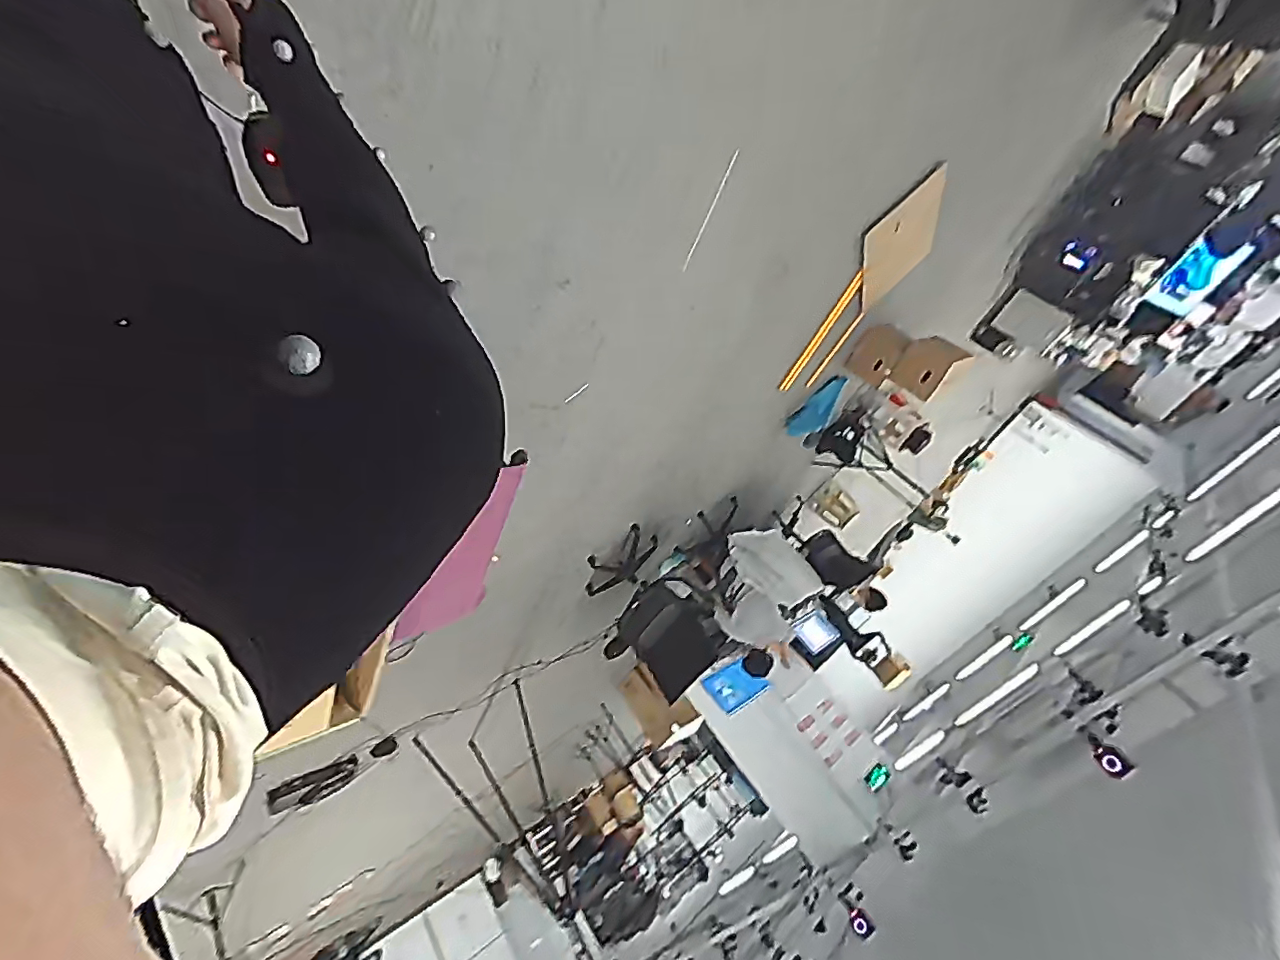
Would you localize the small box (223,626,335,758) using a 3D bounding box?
[{"bbox_3d":[-0.775,0.445,1.157,0.168,0.176,0.179,-10,137,-43],"label":"small box"}]
